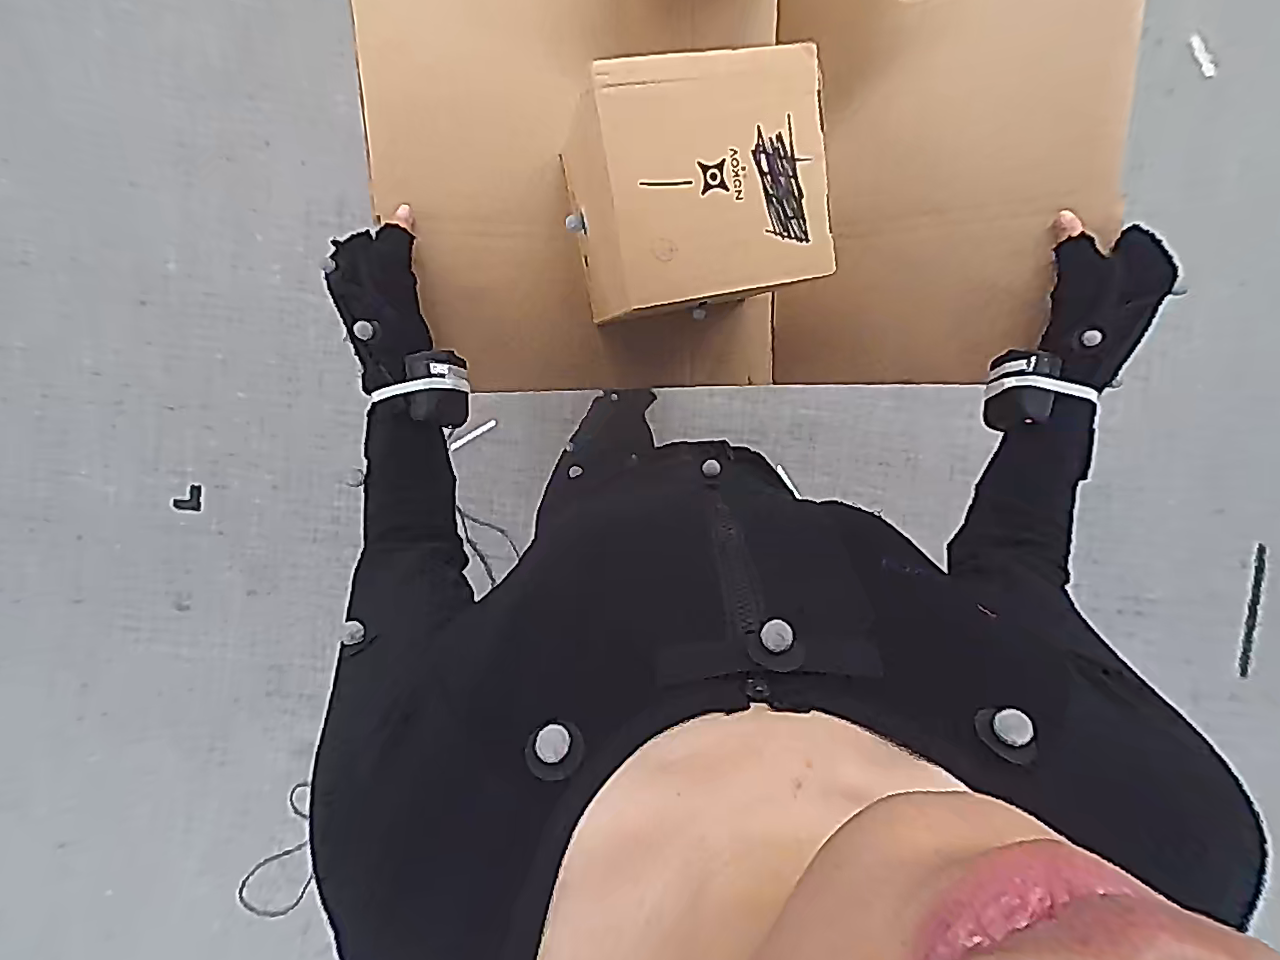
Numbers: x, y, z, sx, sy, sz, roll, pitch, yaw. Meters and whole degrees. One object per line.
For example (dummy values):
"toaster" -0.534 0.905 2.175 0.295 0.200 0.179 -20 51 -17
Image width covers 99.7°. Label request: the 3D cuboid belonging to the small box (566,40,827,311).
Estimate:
"small box" 0.041 -0.255 0.488 0.179 0.176 0.168 -13 105 -11
